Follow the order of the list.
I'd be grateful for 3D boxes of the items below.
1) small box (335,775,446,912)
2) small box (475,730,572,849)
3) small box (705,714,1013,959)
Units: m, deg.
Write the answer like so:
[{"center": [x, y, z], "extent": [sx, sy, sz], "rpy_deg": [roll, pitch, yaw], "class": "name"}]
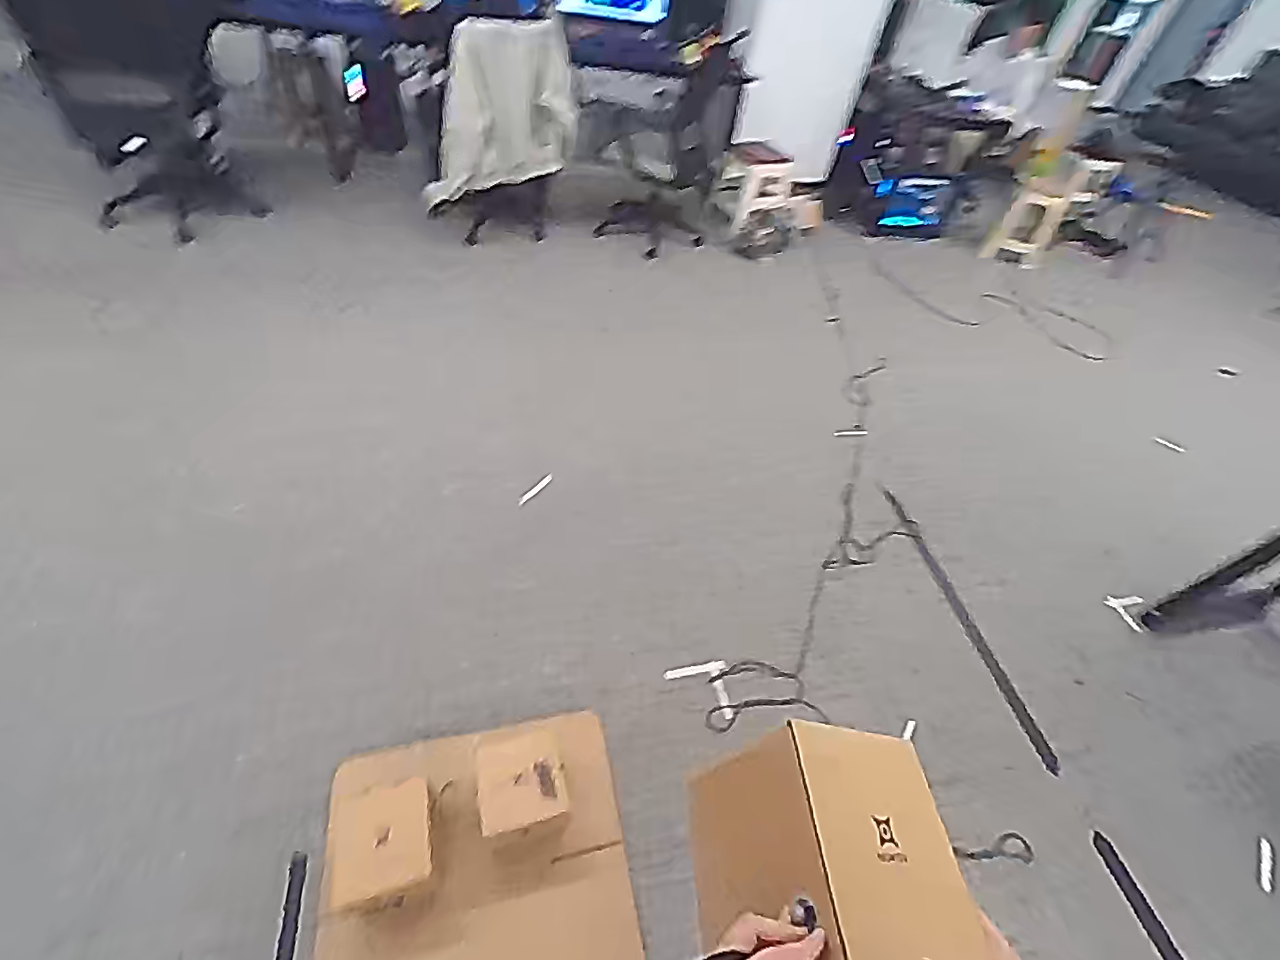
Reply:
[{"center": [-0.489, 0.723, 1.074], "extent": [0.168, 0.176, 0.179], "rpy_deg": [-11, 52, -17], "class": "small box"}, {"center": [-0.252, 0.666, 1.164], "extent": [0.179, 0.176, 0.168], "rpy_deg": [-8, 51, -17], "class": "small box"}, {"center": [0.175, 0.341, 0.489], "extent": [0.168, 0.176, 0.179], "rpy_deg": [21, 41, -23], "class": "small box"}]
